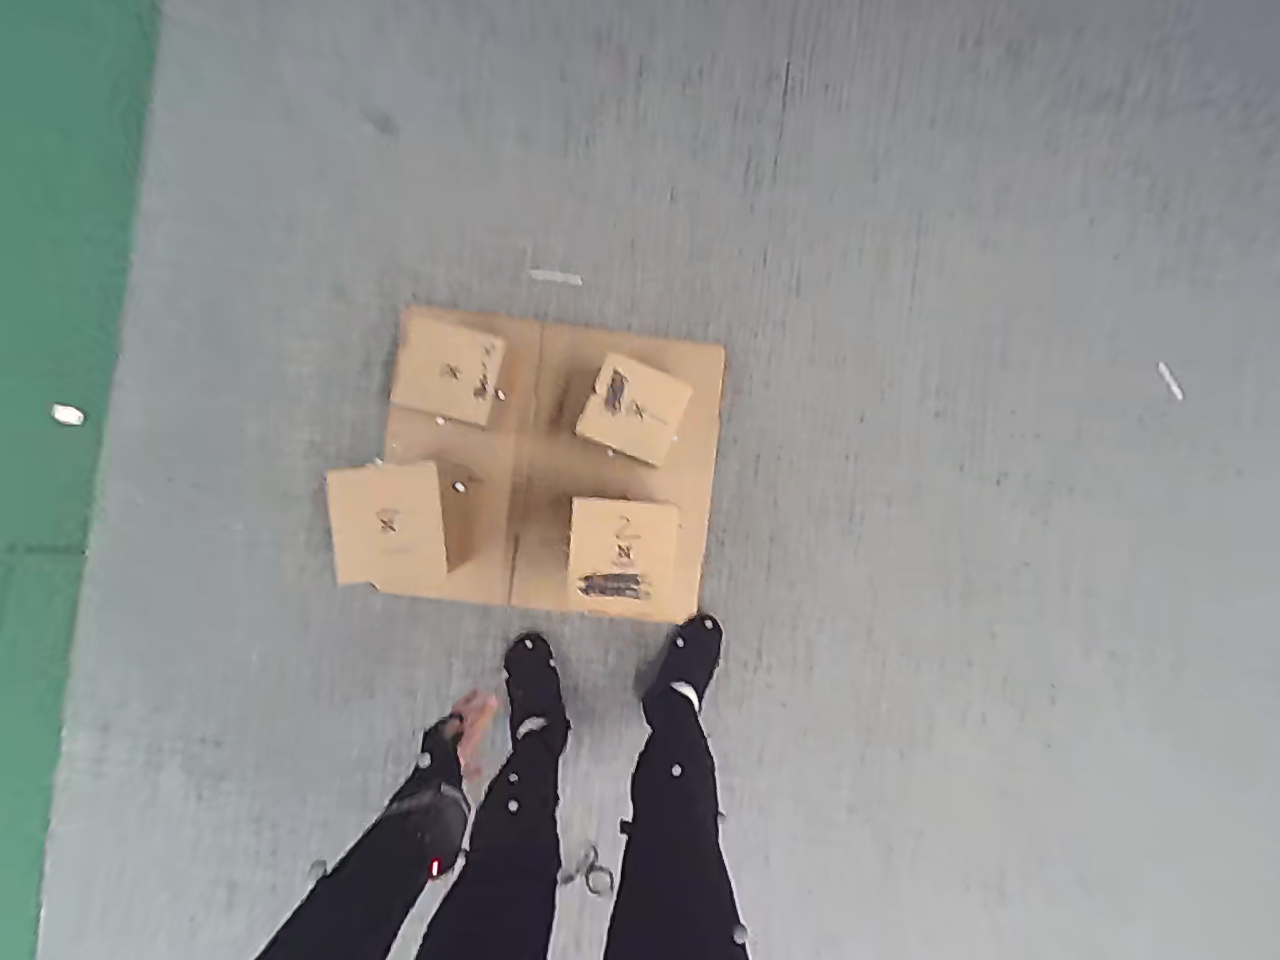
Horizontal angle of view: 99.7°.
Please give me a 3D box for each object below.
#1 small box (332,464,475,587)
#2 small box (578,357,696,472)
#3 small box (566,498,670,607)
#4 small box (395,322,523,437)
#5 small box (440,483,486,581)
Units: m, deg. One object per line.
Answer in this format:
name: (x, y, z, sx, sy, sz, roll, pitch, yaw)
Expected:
small box: (-0.378, 0.071, 0.890, 0.168, 0.176, 0.179, -5, 89, -3)
small box: (-0.011, -0.119, 1.076, 0.179, 0.176, 0.168, 23, 87, -4)
small box: (-0.043, 0.136, 1.071, 0.168, 0.176, 0.179, 11, 88, -4)
small box: (-0.345, -0.187, 1.061, 0.179, 0.176, 0.168, 14, 88, -2)
small box: (-0.410, 0.082, 1.052, 0.168, 0.176, 0.179, 12, 88, -4)
